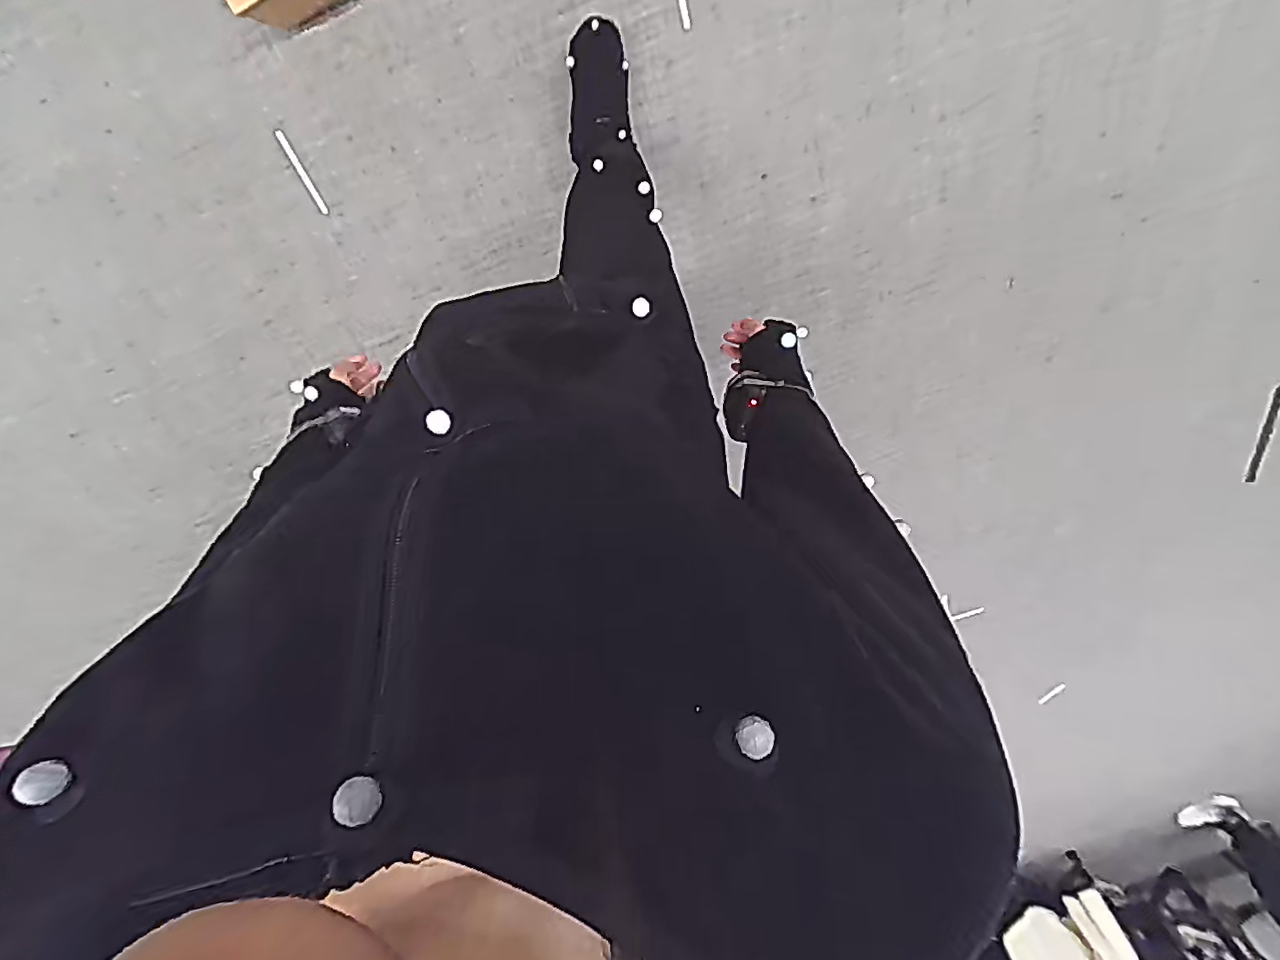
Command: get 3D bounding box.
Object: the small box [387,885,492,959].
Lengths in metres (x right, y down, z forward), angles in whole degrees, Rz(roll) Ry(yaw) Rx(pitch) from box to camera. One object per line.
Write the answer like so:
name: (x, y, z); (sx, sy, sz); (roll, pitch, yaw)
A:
small box: (-0.446, 1.040, 1.209); (0.179, 0.176, 0.168); (-19, 123, 7)

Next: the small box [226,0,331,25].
small box: (-0.574, -0.844, 0.828); (0.179, 0.176, 0.168); (-23, 122, 10)
